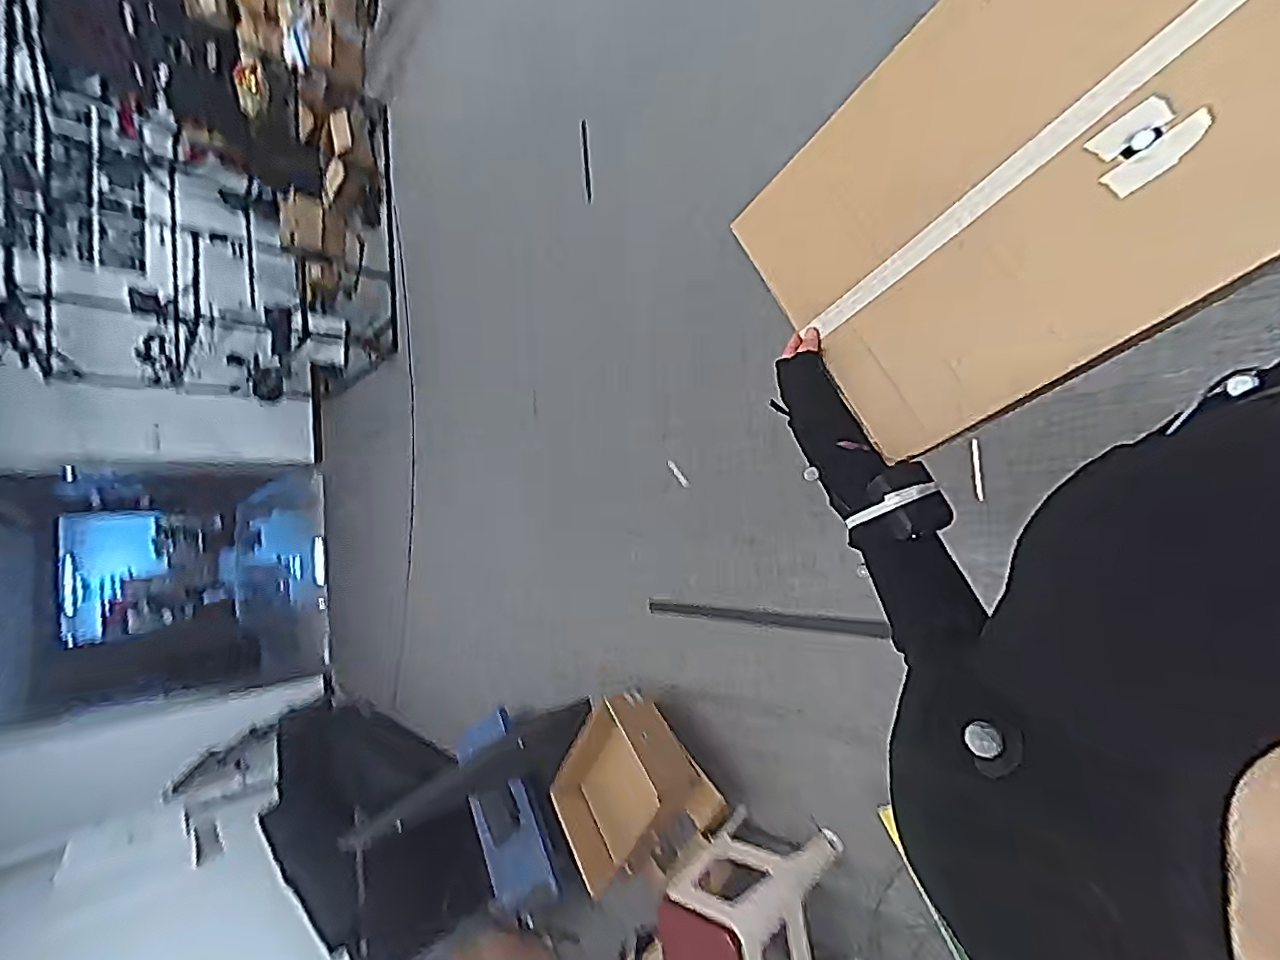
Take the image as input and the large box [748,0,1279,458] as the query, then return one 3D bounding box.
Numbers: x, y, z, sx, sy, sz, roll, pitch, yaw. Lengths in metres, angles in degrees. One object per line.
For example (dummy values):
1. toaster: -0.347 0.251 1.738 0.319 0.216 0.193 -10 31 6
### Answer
1. large box: 0.400 -0.263 0.554 0.408 0.320 0.320 -37 74 37
